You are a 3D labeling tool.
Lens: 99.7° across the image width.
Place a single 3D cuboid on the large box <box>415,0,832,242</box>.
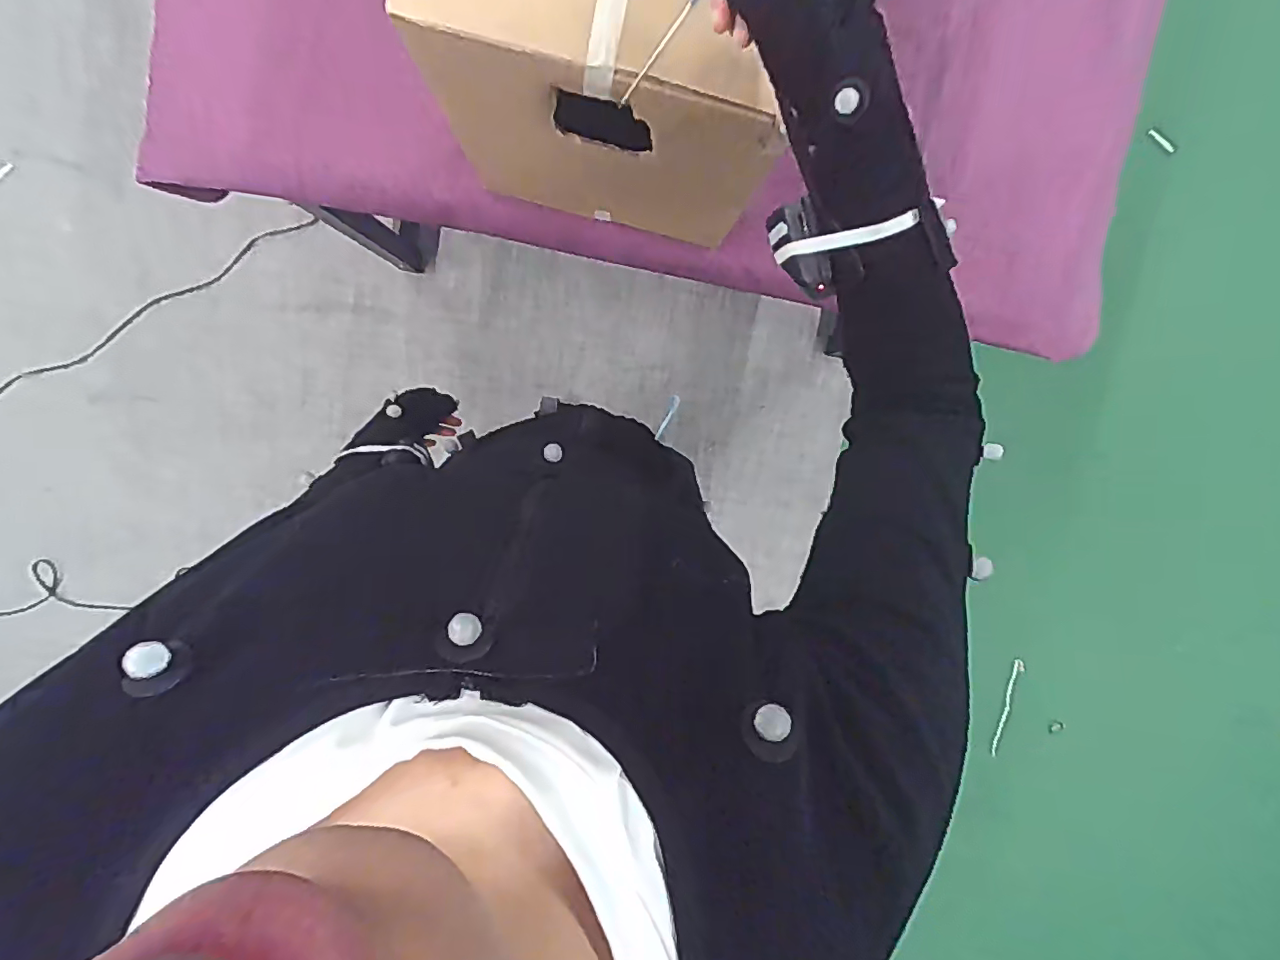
[{"bbox_3d":[0.010,-0.518,0.539,0.320,0.320,0.408,13,97,-5],"label":"large box"}]
